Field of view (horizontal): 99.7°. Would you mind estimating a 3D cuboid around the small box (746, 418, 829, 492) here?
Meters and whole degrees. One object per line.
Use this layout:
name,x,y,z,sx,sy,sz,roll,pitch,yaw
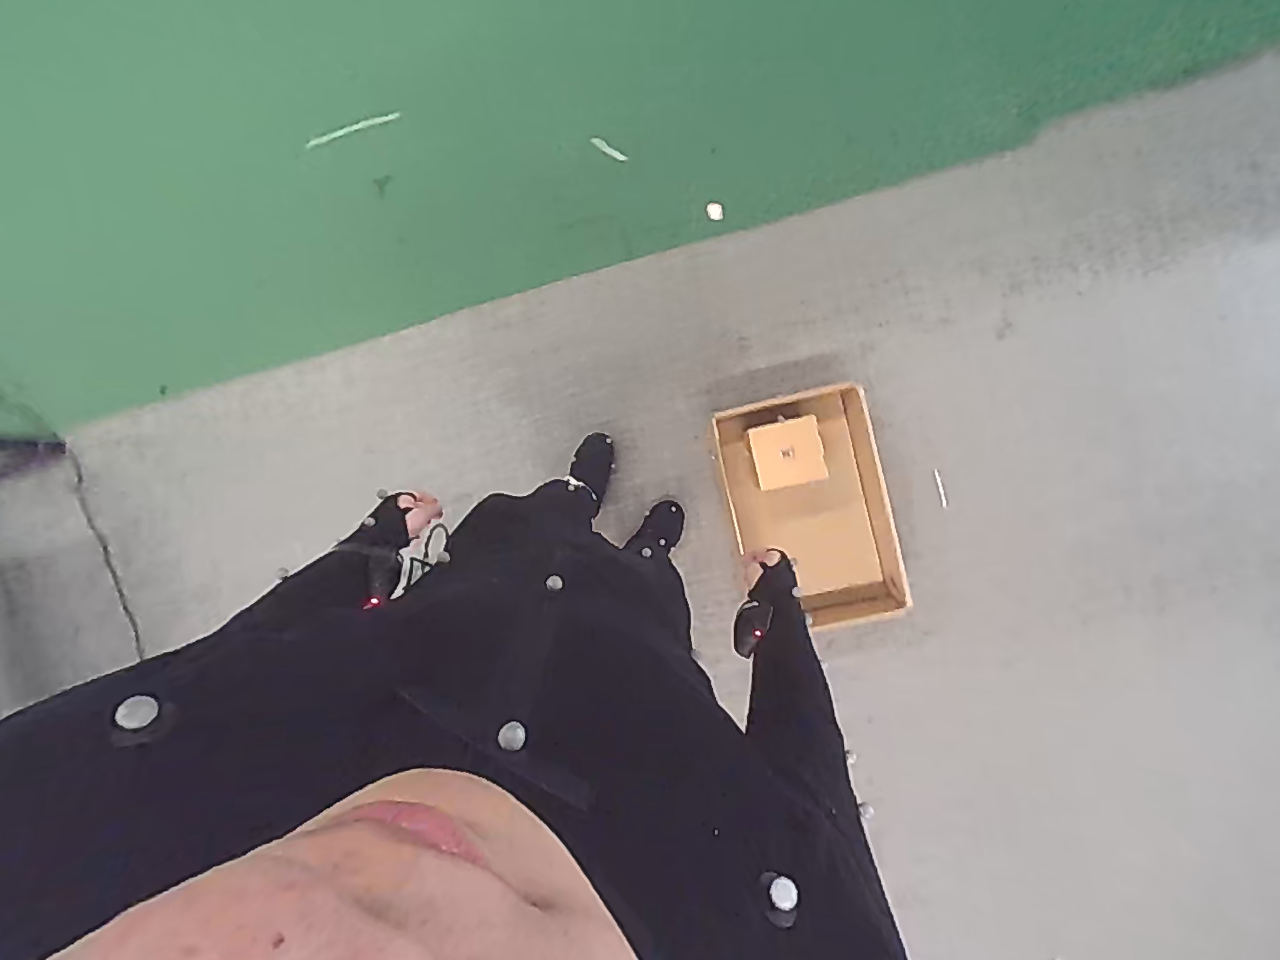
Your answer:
small box,0.387,-0.063,1.456,0.179,0.176,0.168,-12,90,5
